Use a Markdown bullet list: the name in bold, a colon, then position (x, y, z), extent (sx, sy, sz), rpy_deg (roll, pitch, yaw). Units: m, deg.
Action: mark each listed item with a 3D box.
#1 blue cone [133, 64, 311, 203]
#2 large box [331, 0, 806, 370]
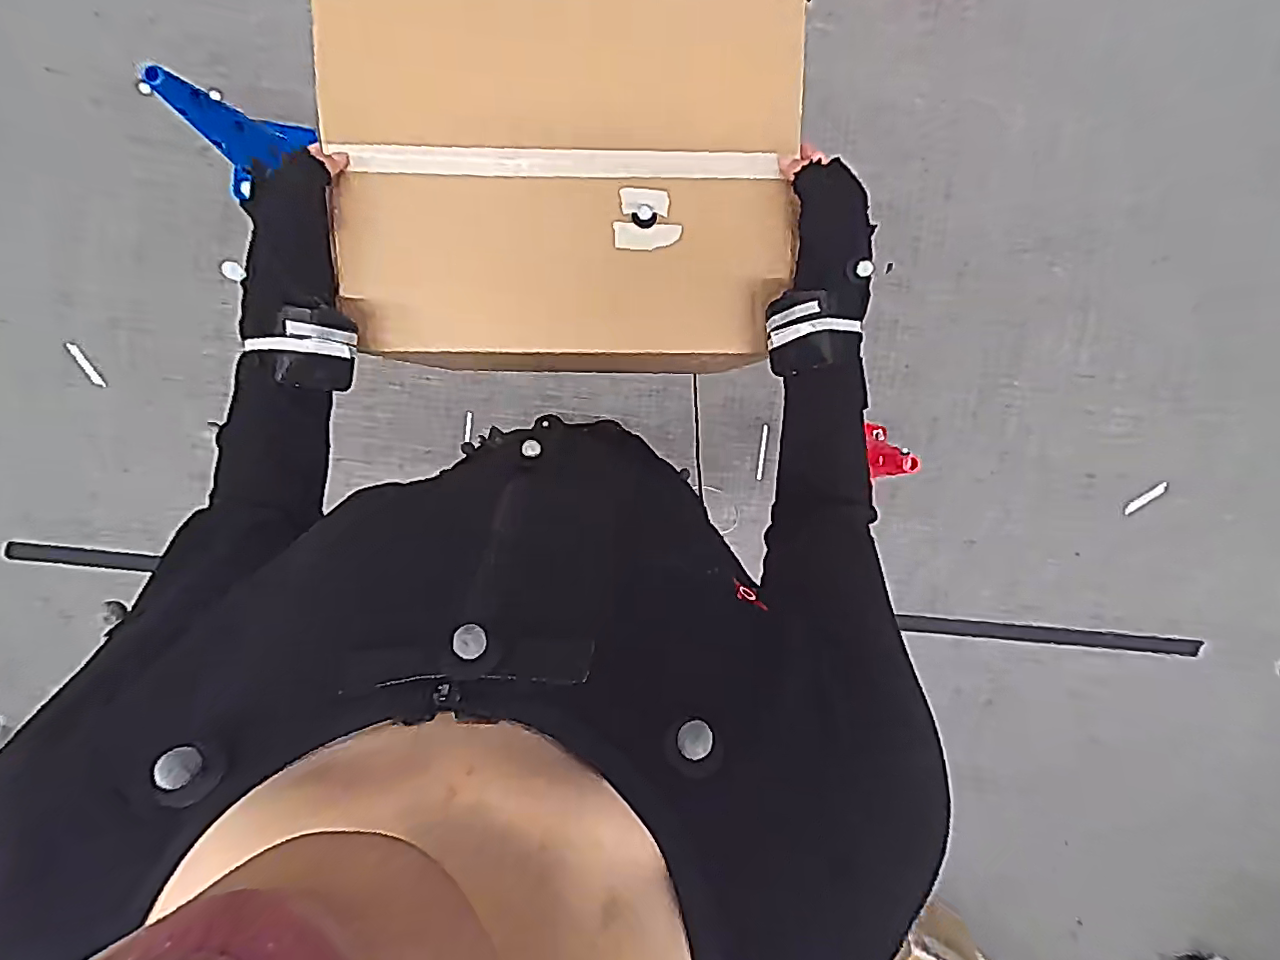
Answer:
- **blue cone**: position (-0.937, -0.792, 1.213), extent (0.192, 0.380, 0.193), rpy_deg (9, 96, -1)
- **large box**: position (-0.066, -0.295, 0.616), extent (0.408, 0.320, 0.320), rpy_deg (0, 98, -4)
